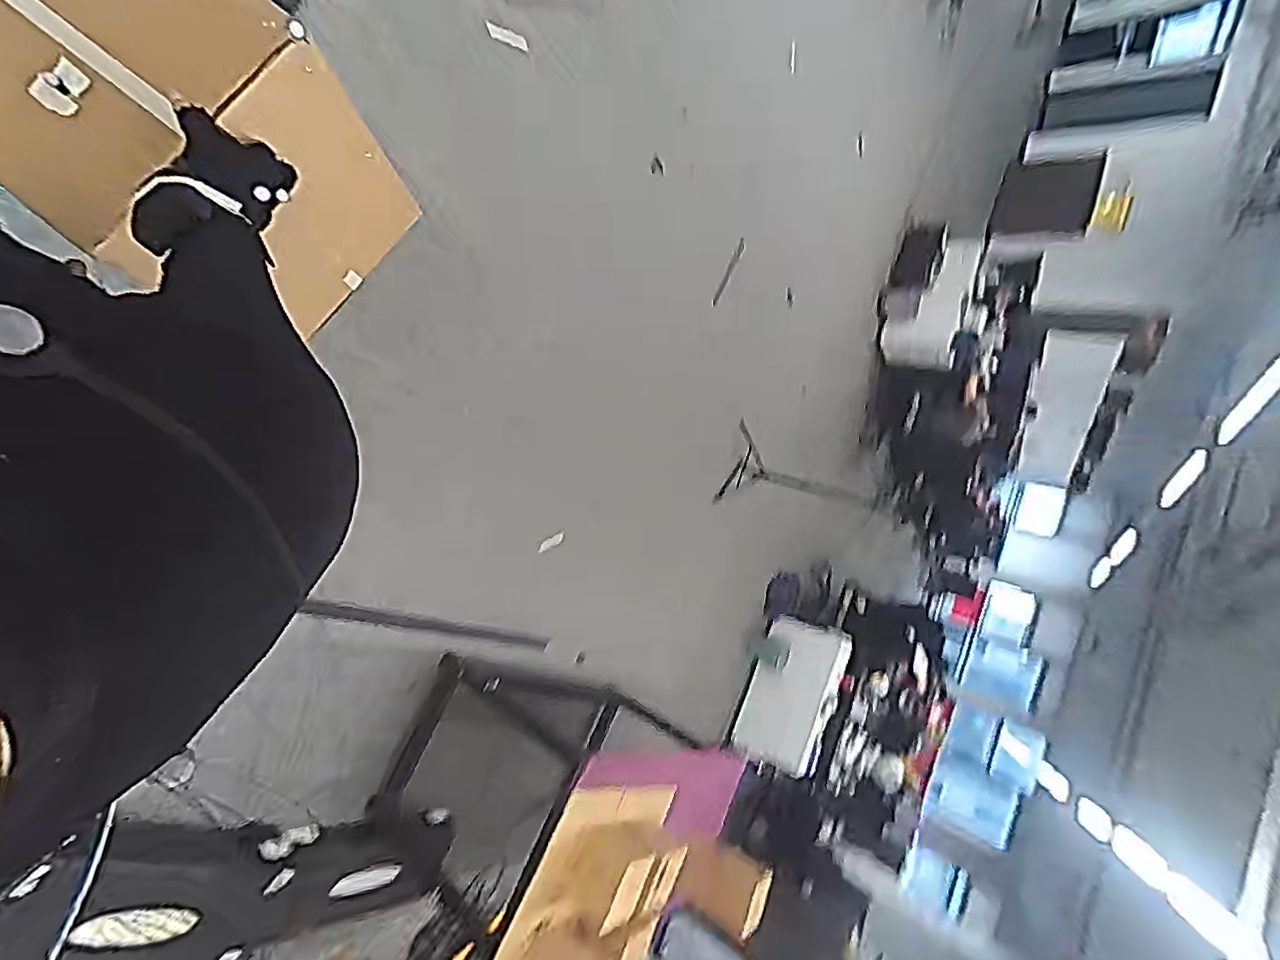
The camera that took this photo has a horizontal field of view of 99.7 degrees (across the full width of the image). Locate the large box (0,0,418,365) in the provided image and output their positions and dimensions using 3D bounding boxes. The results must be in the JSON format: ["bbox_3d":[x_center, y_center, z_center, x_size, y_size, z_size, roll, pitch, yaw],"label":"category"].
[{"bbox_3d":[-0.592,-0.428,0.710,0.320,0.408,0.320,-50,177,-6],"label":"large box"}]
